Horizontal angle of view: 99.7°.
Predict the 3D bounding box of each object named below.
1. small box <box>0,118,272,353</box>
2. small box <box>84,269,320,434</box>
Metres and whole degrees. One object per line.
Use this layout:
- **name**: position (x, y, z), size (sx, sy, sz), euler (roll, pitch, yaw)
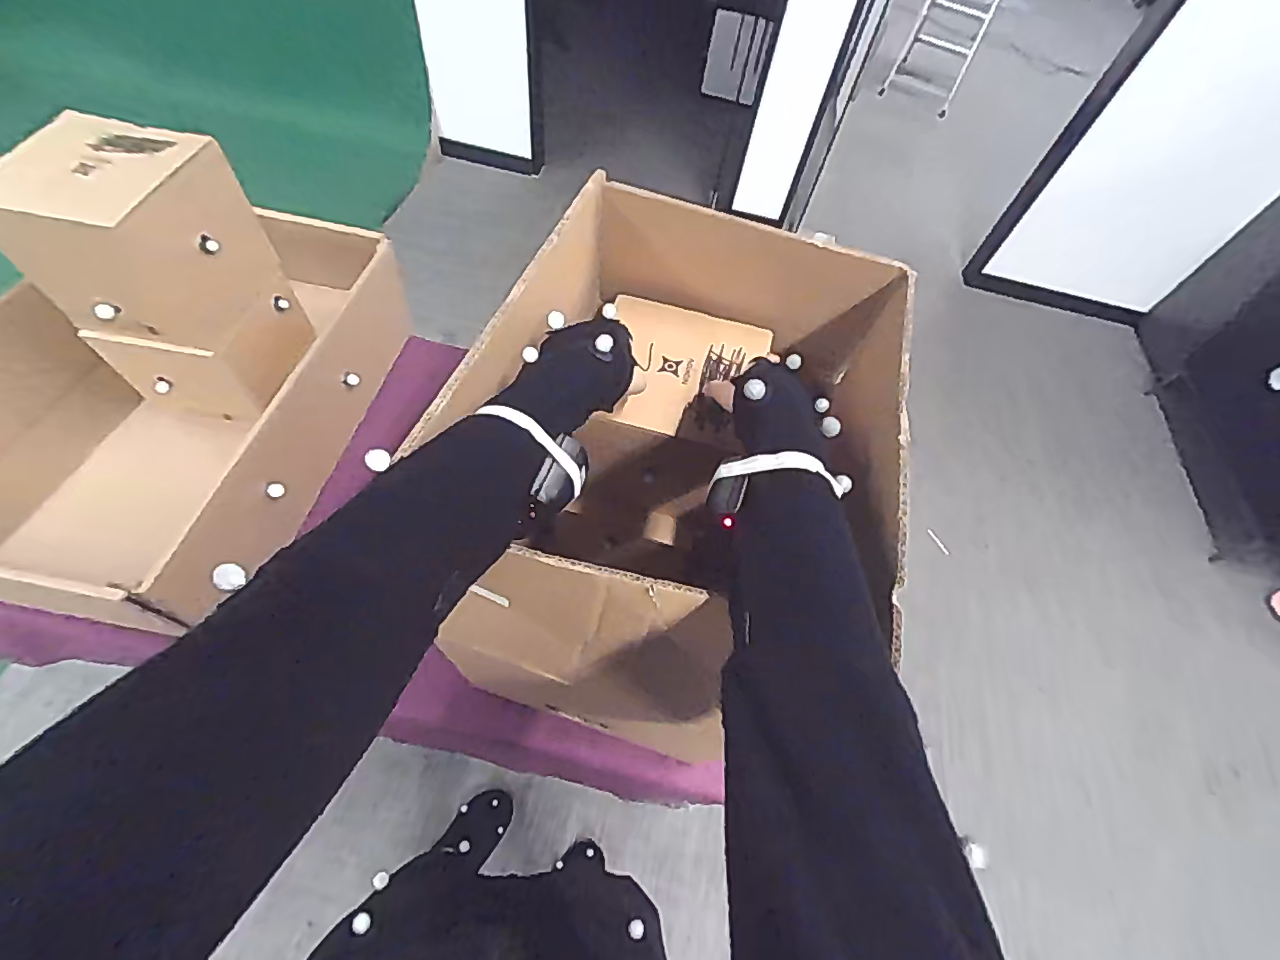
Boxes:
- **small box**: position (-0.579, -0.281, 0.636), size (0.168, 0.176, 0.179), euler (10, 59, 0)
- **small box**: position (-0.596, -0.188, 0.771), size (0.168, 0.176, 0.179), euler (9, 58, -1)
